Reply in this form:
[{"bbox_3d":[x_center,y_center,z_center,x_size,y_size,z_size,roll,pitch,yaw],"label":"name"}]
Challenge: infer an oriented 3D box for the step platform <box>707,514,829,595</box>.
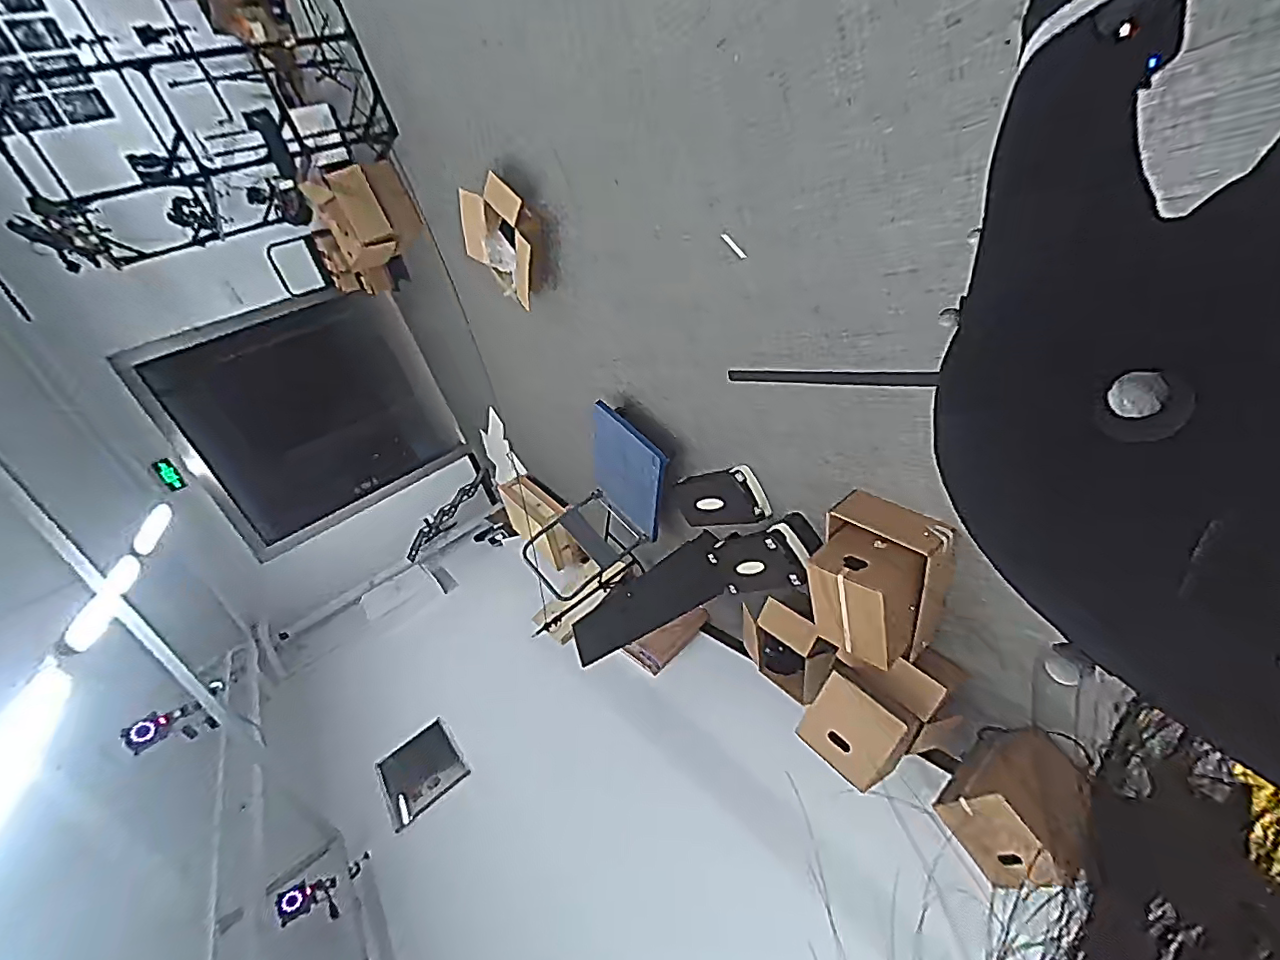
[{"bbox_3d":[0.611,0.392,2.714,0.286,0.204,0.684,56,153,1],"label":"step platform"}]
